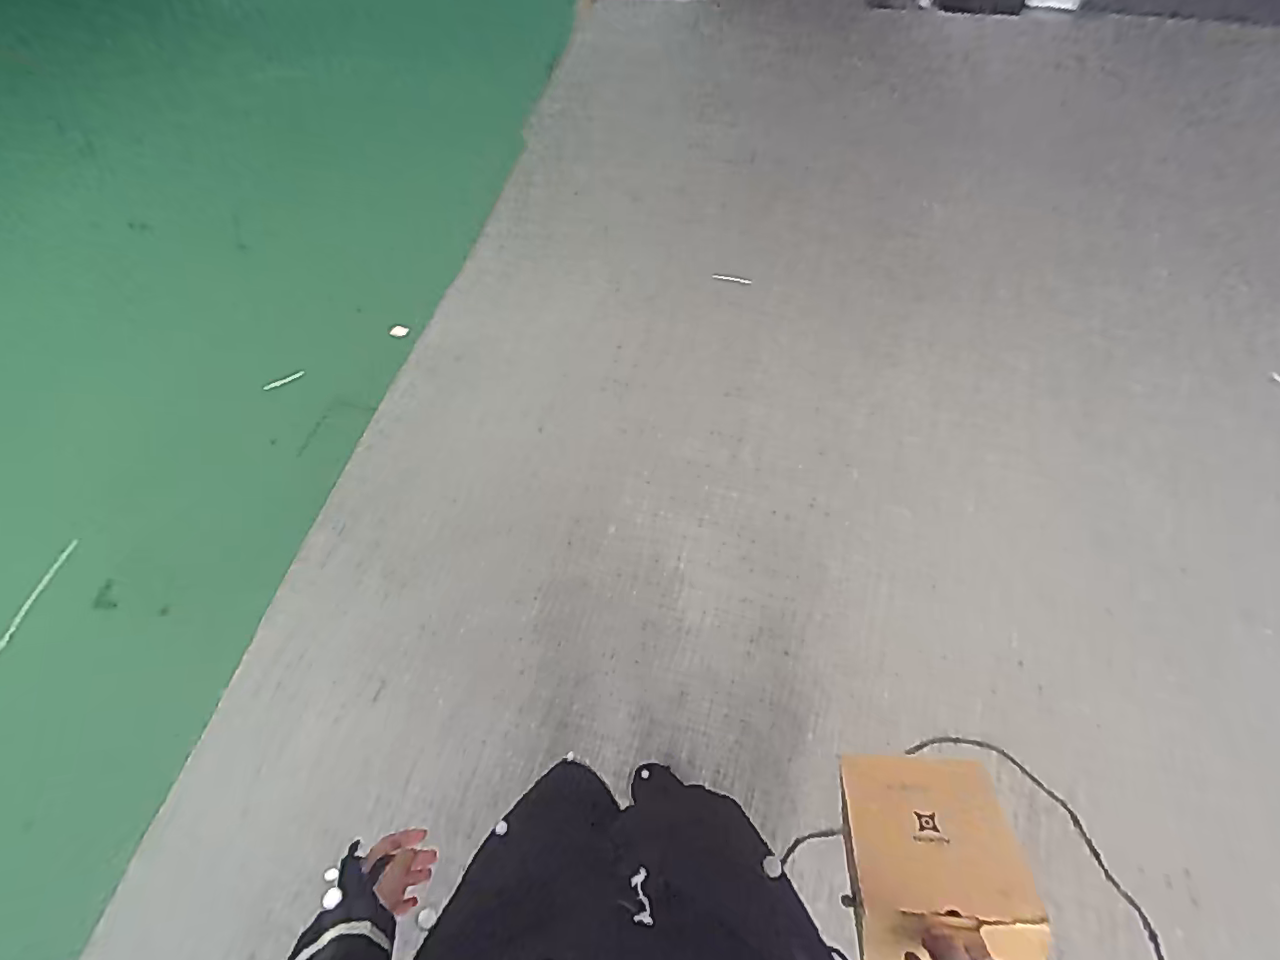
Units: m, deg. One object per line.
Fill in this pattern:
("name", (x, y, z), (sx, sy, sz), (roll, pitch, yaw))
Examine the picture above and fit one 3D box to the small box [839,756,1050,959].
("small box", (0.326, 0.451, 0.616), (0.168, 0.176, 0.179), (-4, 25, 13))
